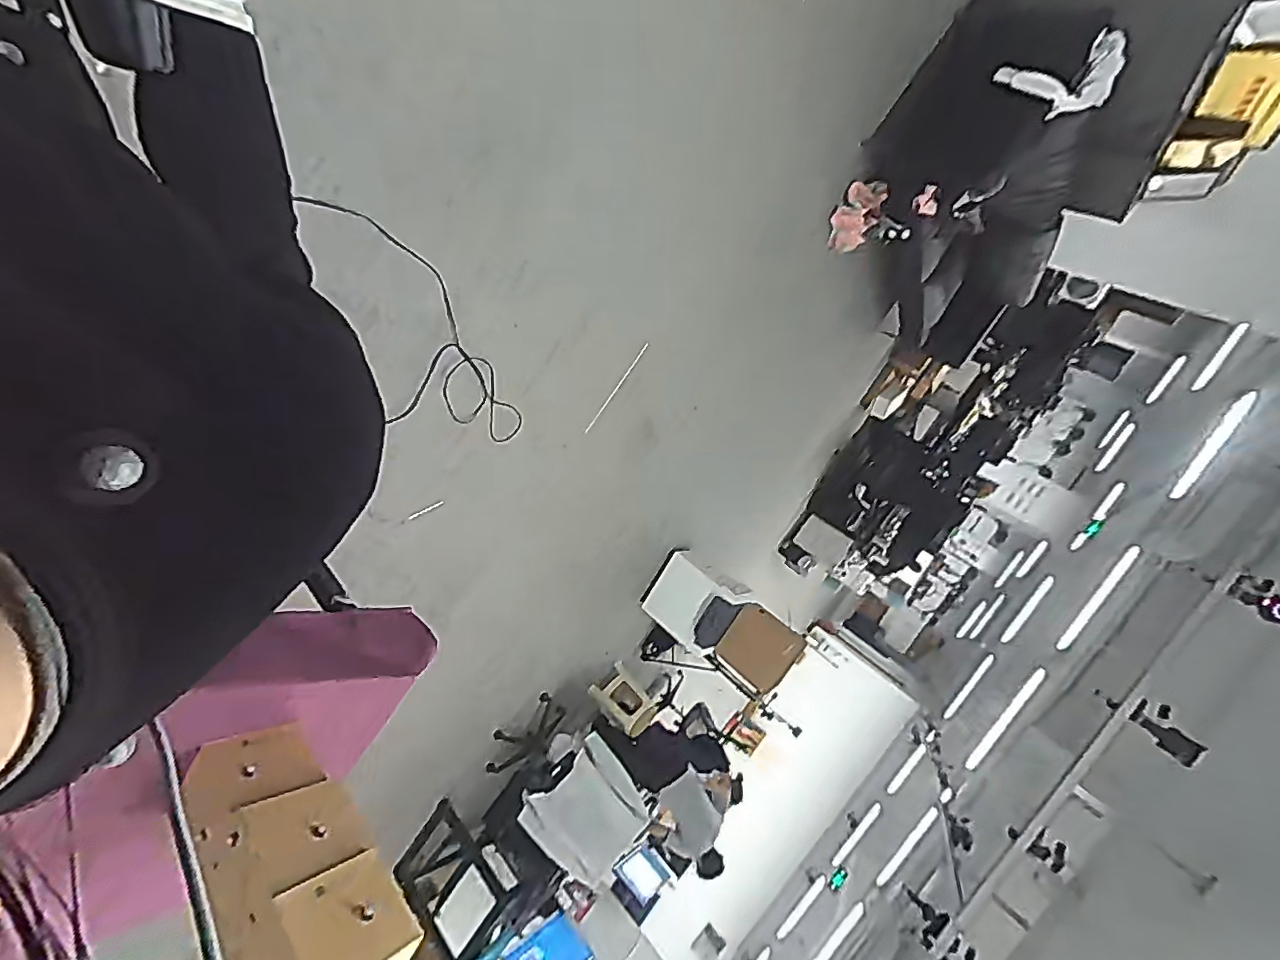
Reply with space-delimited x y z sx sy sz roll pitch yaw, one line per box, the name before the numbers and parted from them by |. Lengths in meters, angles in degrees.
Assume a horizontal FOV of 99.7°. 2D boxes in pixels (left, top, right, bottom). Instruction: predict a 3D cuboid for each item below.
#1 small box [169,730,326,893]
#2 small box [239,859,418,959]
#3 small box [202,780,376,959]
small box | -0.727 0.591 0.998 0.179 0.176 0.168 -57 150 9
small box | -0.483 0.730 0.829 0.168 0.176 0.179 11 113 -57
small box | -0.598 0.656 0.918 0.168 0.176 0.179 -58 150 9
